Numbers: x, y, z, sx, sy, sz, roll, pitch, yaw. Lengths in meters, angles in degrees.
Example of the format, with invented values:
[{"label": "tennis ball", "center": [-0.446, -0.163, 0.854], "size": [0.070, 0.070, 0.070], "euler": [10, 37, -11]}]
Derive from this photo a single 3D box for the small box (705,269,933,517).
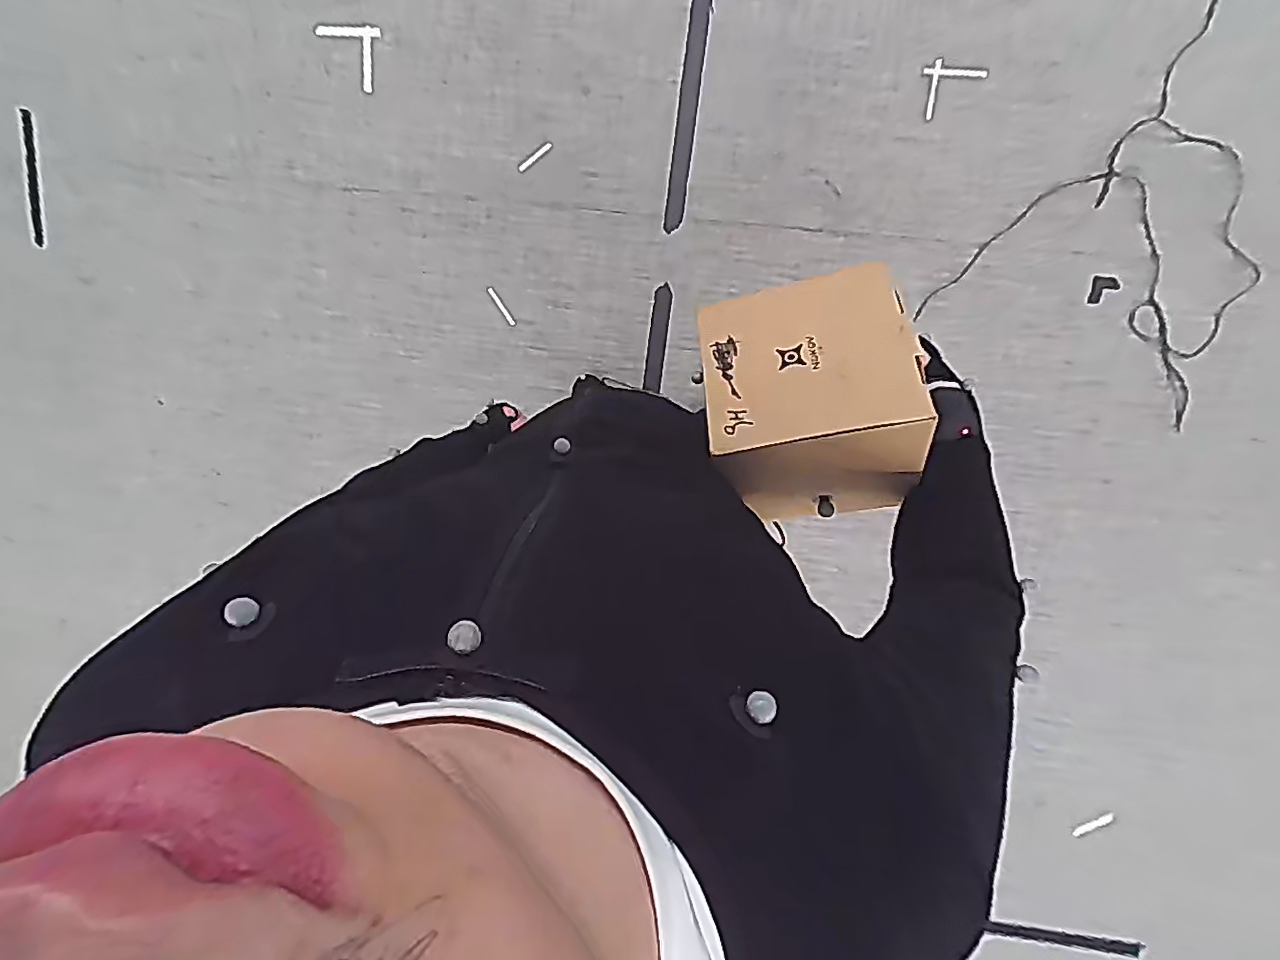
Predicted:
[{"label": "small box", "center": [0.171, -0.075, 0.549], "size": [0.179, 0.176, 0.168], "euler": [-9, 61, 16]}]
